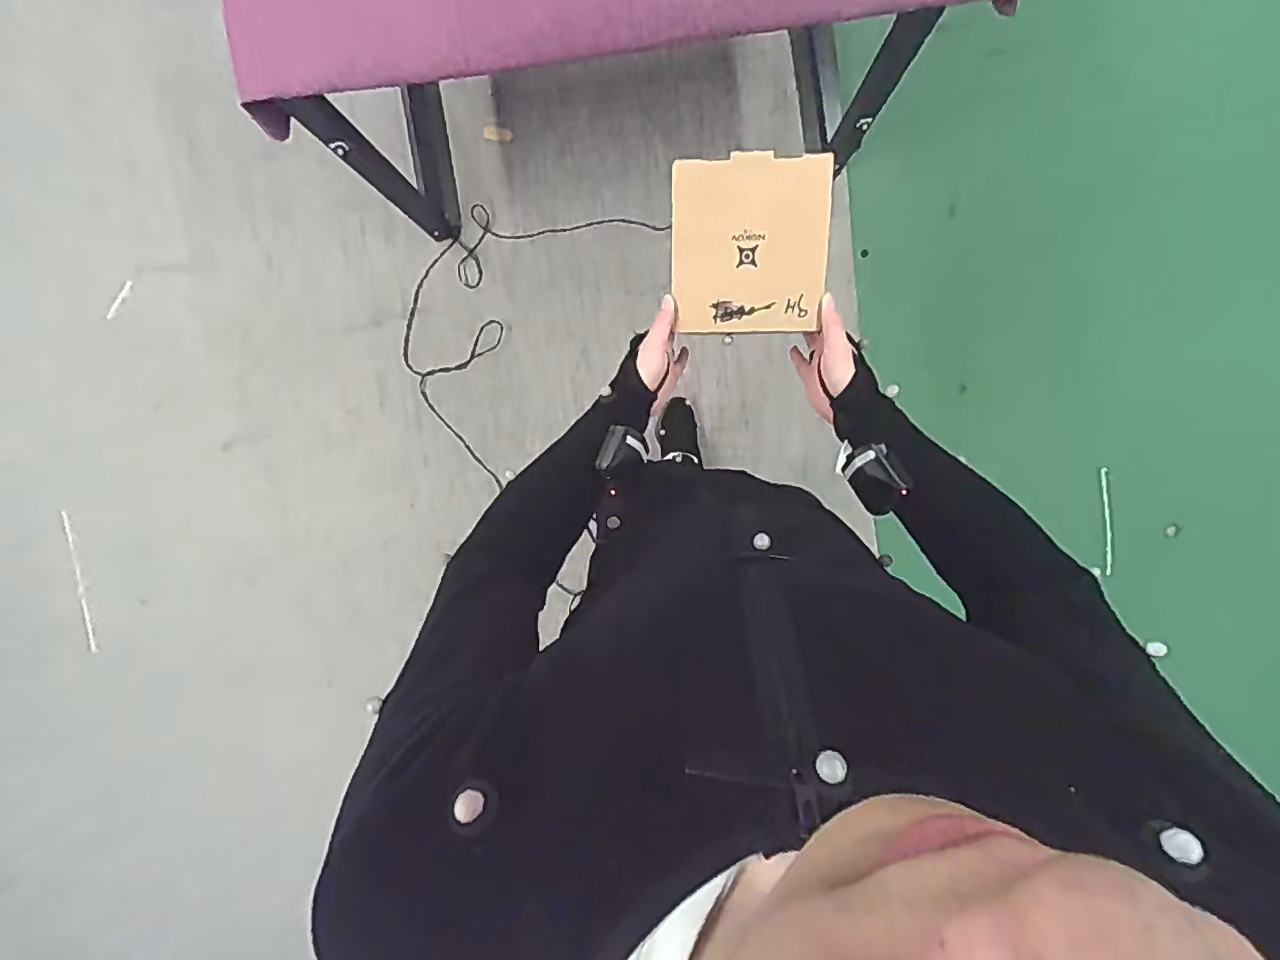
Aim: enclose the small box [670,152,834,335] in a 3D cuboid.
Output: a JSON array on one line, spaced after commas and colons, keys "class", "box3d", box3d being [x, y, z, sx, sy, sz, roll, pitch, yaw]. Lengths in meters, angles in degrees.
[{"class": "small box", "box3d": [0.124, -0.269, 0.651, 0.168, 0.176, 0.179, 2, 104, 7]}]
